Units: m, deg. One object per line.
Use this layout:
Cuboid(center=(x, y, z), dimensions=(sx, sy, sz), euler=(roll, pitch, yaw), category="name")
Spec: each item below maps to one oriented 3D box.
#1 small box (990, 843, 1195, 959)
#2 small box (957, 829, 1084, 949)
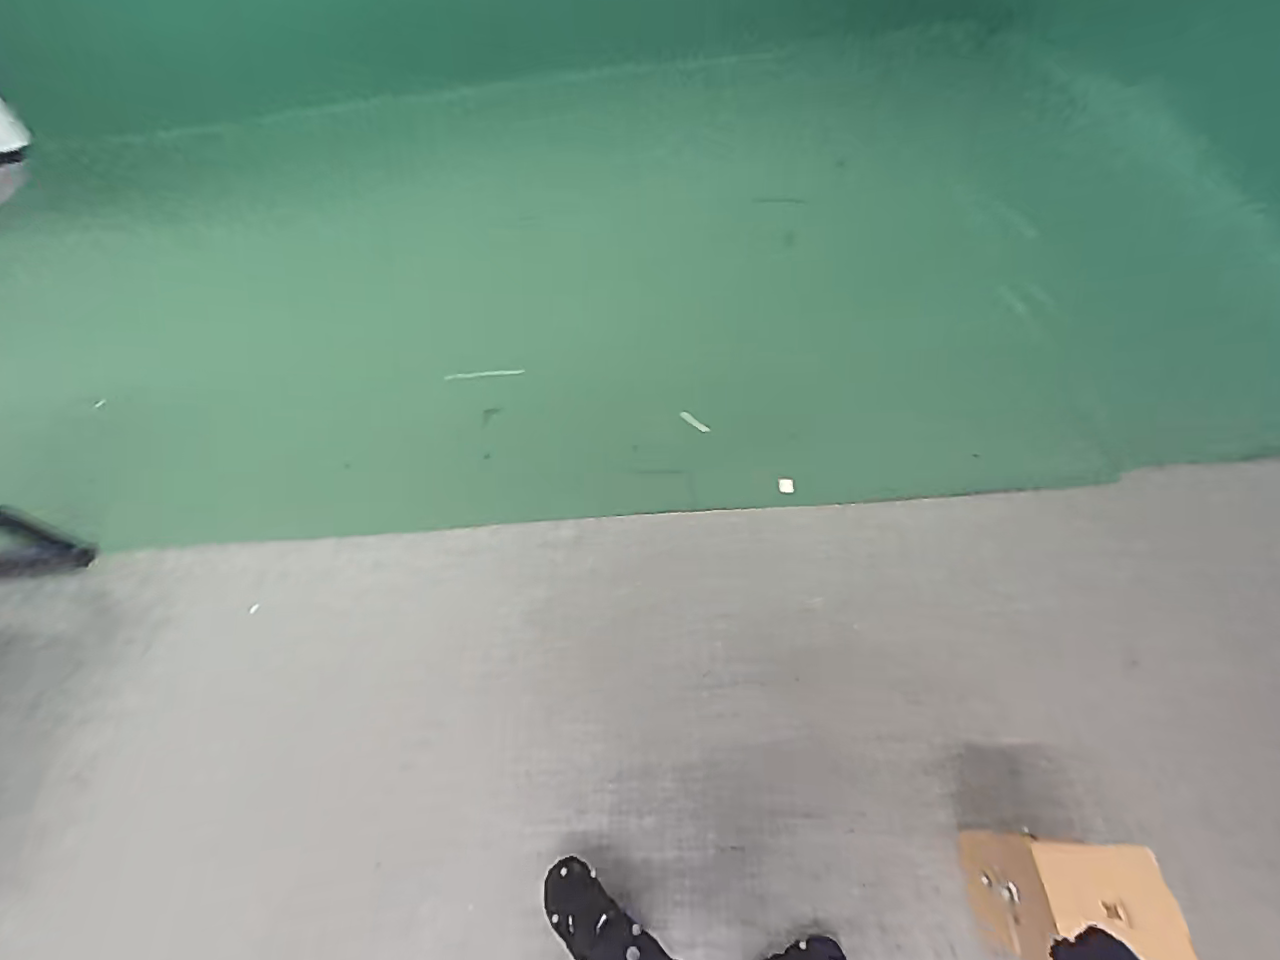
Cuboid(center=(0.707, 0.682, 0.865), dimensions=(0.179, 0.176, 0.168), euler=(-4, 54, 7), category="small box")
Cuboid(center=(0.721, 0.761, 1.006), dimensions=(0.168, 0.176, 0.179), euler=(-2, 57, 7), category="small box")
